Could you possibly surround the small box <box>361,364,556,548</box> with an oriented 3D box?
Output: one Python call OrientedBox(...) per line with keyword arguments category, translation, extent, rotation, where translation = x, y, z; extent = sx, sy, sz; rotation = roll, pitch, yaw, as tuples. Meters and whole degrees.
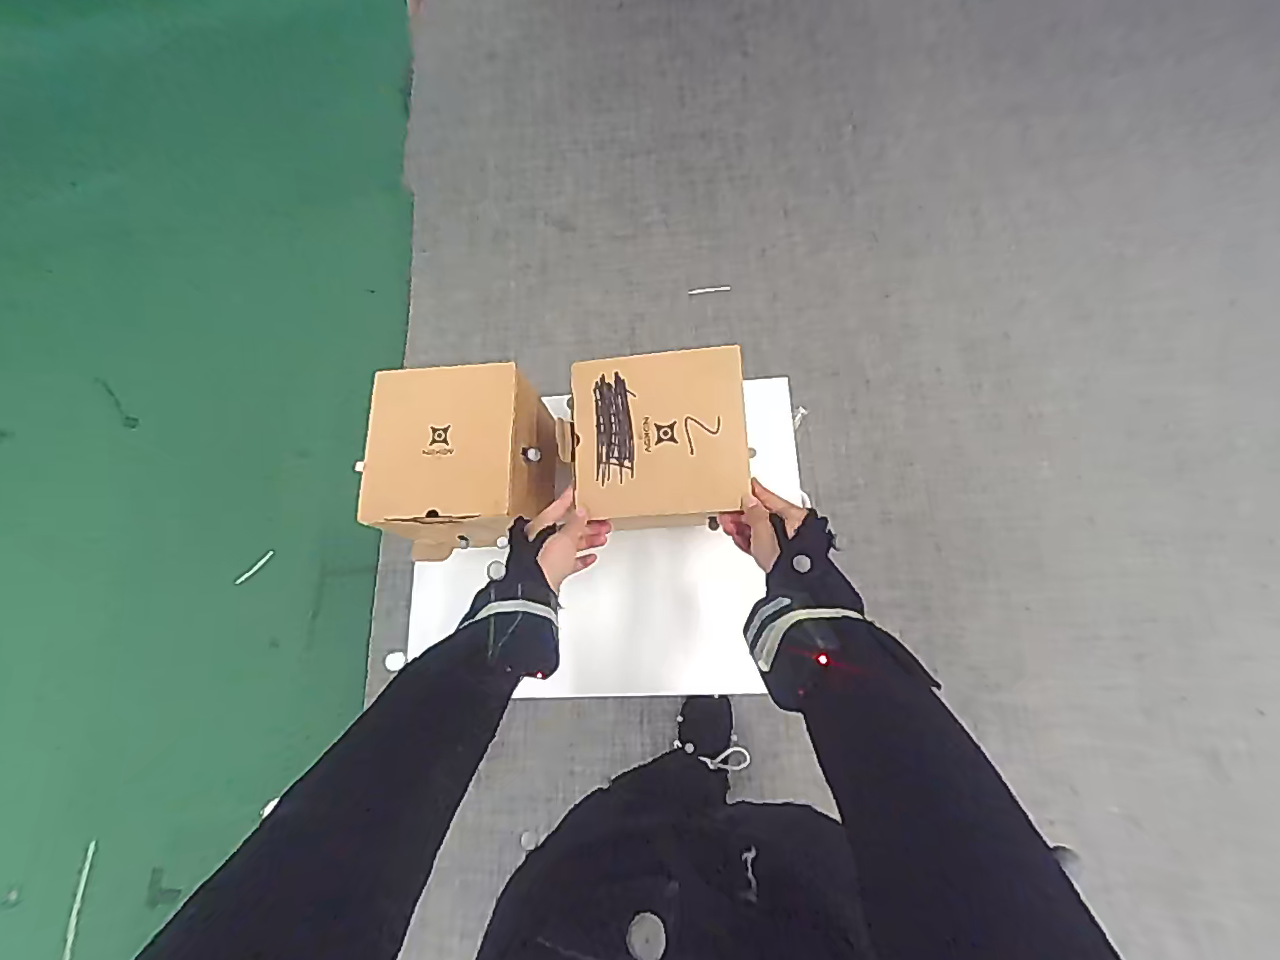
OrientedBox(category="small box", translation=(-0.202, -0.019, 0.652), extent=(0.168, 0.176, 0.179), rotation=(-3, 74, 5))
